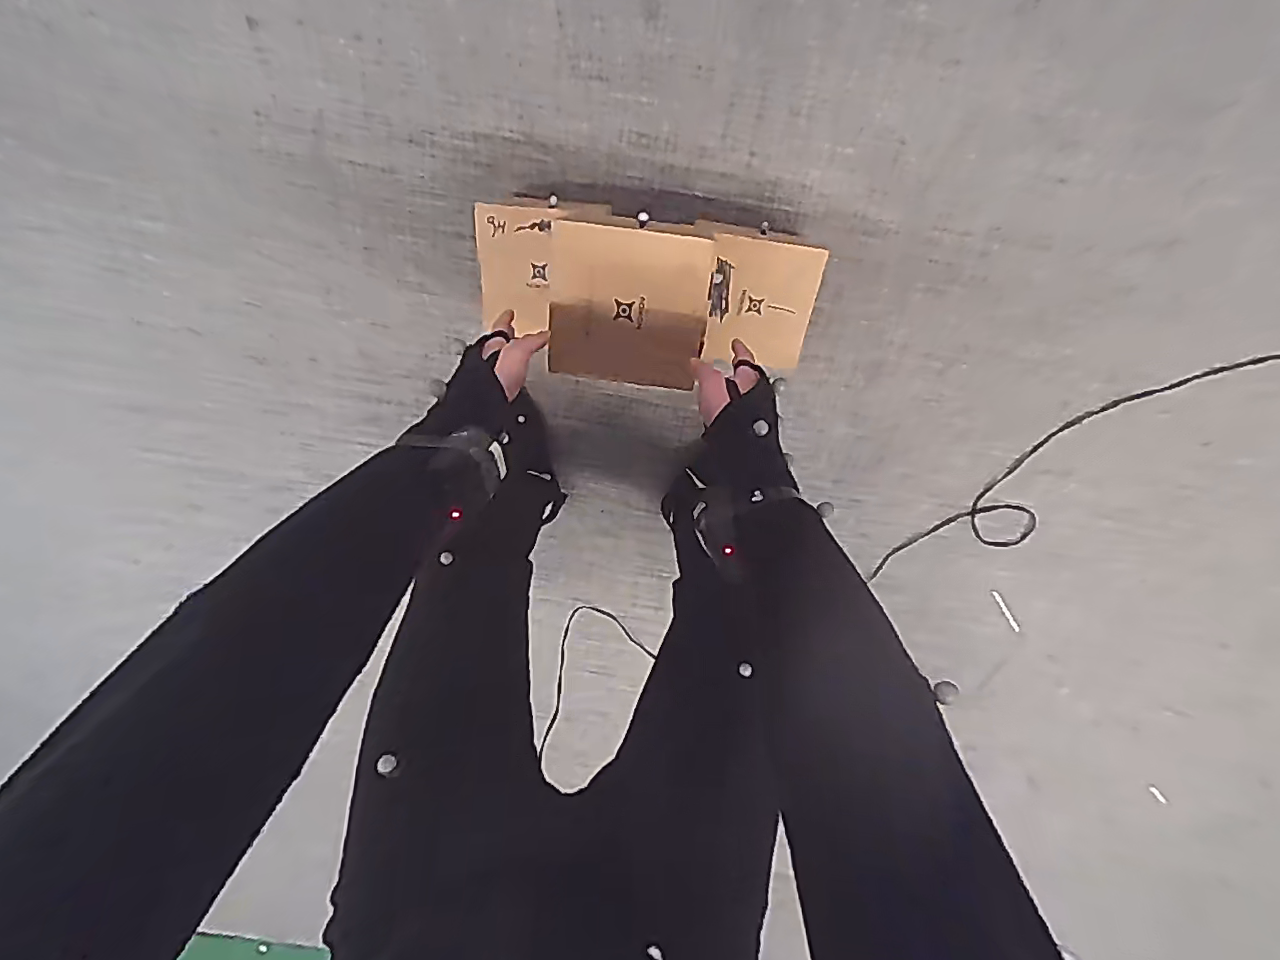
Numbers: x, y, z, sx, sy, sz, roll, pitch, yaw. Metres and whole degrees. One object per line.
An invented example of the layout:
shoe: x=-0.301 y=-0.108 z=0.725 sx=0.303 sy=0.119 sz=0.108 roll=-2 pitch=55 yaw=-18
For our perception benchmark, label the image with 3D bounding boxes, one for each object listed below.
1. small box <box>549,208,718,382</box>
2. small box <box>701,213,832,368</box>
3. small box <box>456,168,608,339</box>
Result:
small box: x=-0.006 y=-0.234 z=0.666 sx=0.179 sy=0.176 sz=0.168 roll=8 pitch=118 yaw=2
small box: x=0.156 y=-0.289 z=0.805 sx=0.179 sy=0.176 sz=0.168 roll=12 pitch=122 yaw=-1
small box: x=-0.129 y=-0.333 z=0.799 sx=0.179 sy=0.176 sz=0.168 roll=-20 pitch=114 yaw=18
